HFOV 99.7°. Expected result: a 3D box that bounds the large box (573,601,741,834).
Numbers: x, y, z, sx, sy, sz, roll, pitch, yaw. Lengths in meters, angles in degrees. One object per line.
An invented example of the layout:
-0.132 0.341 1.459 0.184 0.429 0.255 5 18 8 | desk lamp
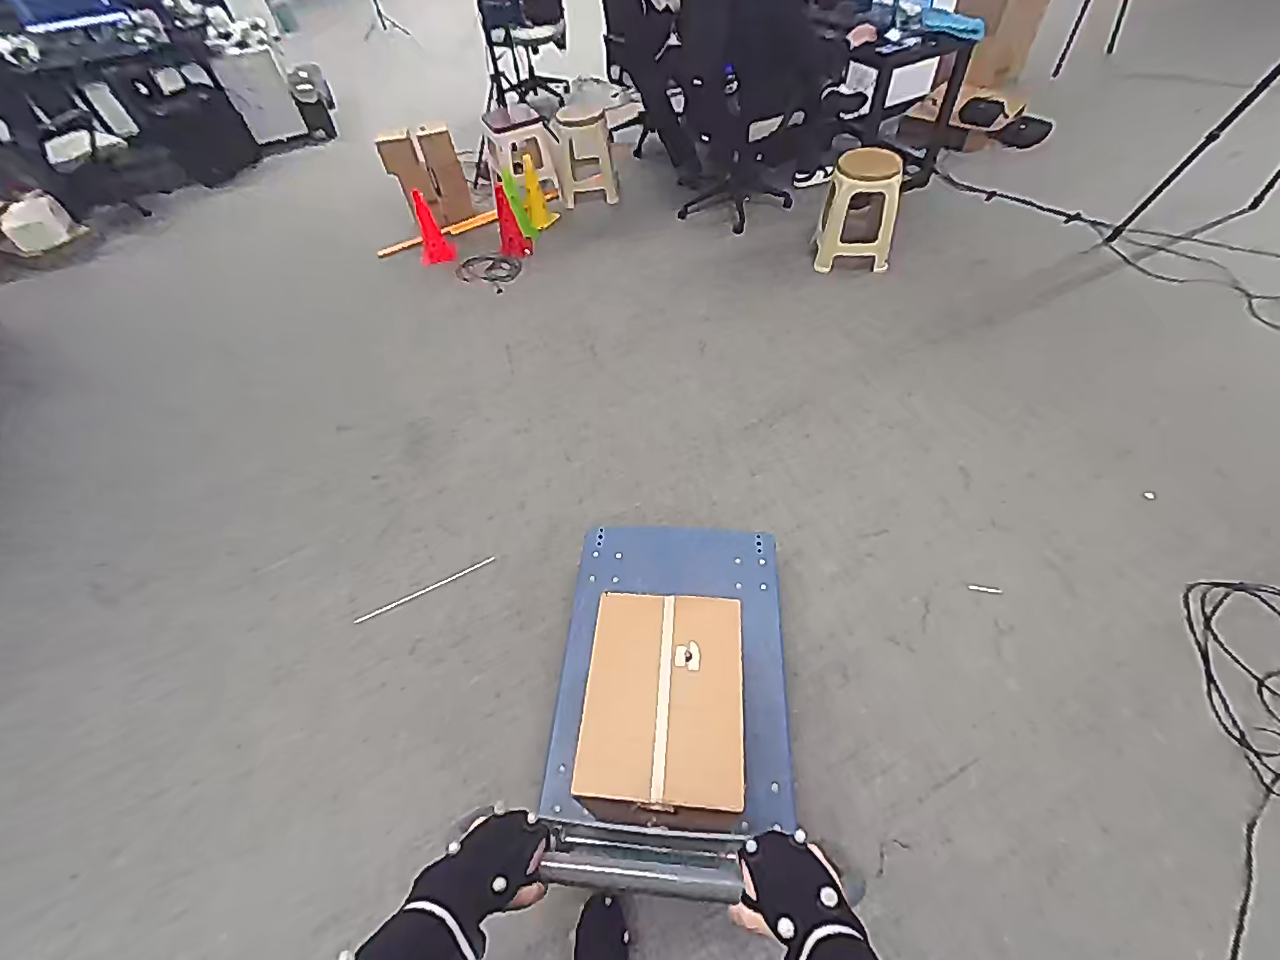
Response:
0.055 0.530 1.212 0.320 0.320 0.408 2 51 7 | large box
